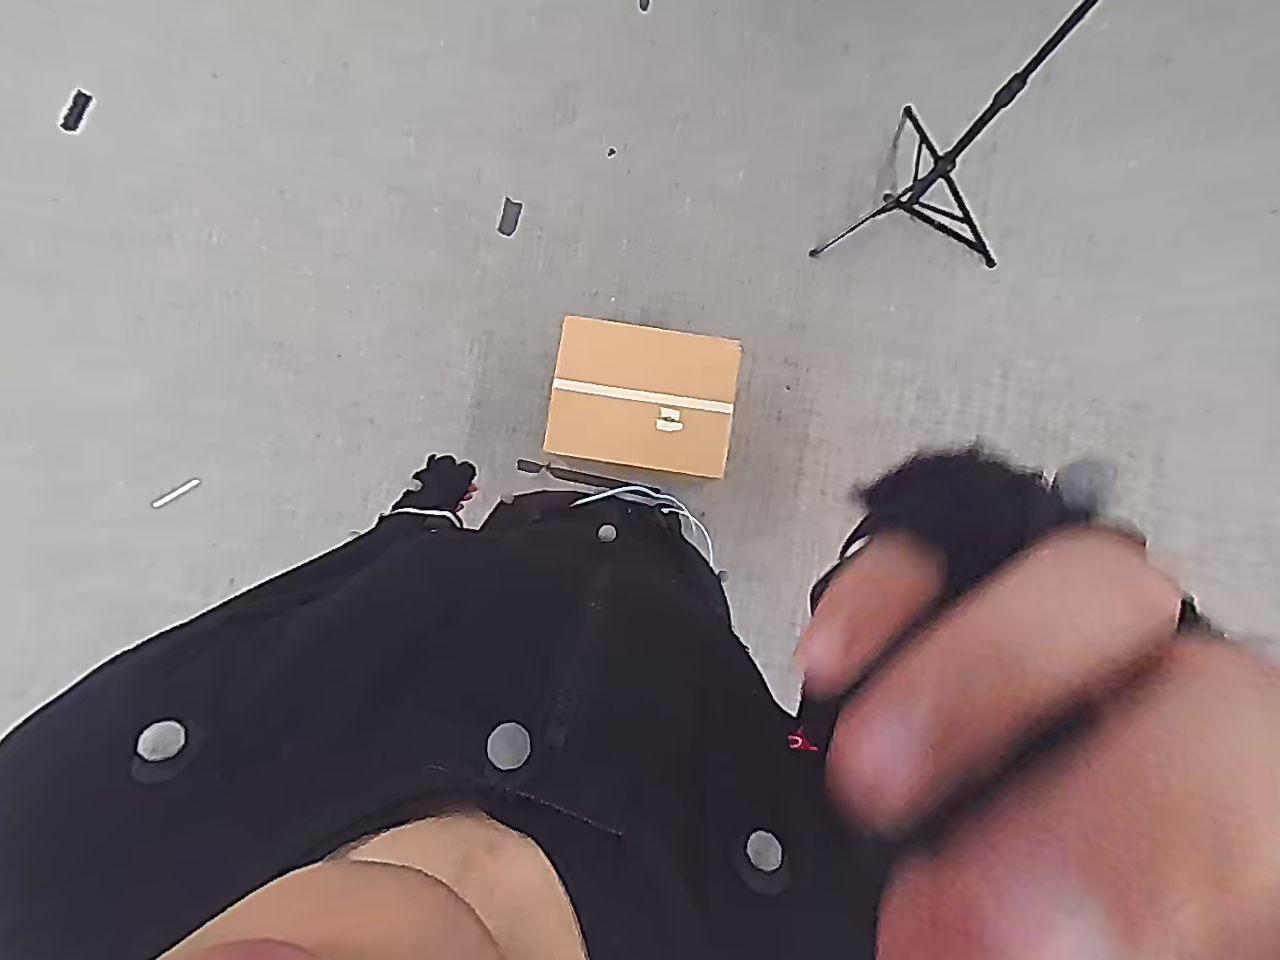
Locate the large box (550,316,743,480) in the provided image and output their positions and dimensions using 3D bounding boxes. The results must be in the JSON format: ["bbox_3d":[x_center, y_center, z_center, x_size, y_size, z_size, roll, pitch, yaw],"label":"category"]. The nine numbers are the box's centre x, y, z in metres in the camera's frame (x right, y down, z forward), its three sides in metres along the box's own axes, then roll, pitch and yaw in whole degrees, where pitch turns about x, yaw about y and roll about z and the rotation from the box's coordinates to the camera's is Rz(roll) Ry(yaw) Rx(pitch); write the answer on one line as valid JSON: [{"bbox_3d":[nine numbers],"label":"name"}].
[{"bbox_3d":[0.013,-0.185,1.354,0.408,0.320,0.320,9,88,0],"label":"large box"}]
